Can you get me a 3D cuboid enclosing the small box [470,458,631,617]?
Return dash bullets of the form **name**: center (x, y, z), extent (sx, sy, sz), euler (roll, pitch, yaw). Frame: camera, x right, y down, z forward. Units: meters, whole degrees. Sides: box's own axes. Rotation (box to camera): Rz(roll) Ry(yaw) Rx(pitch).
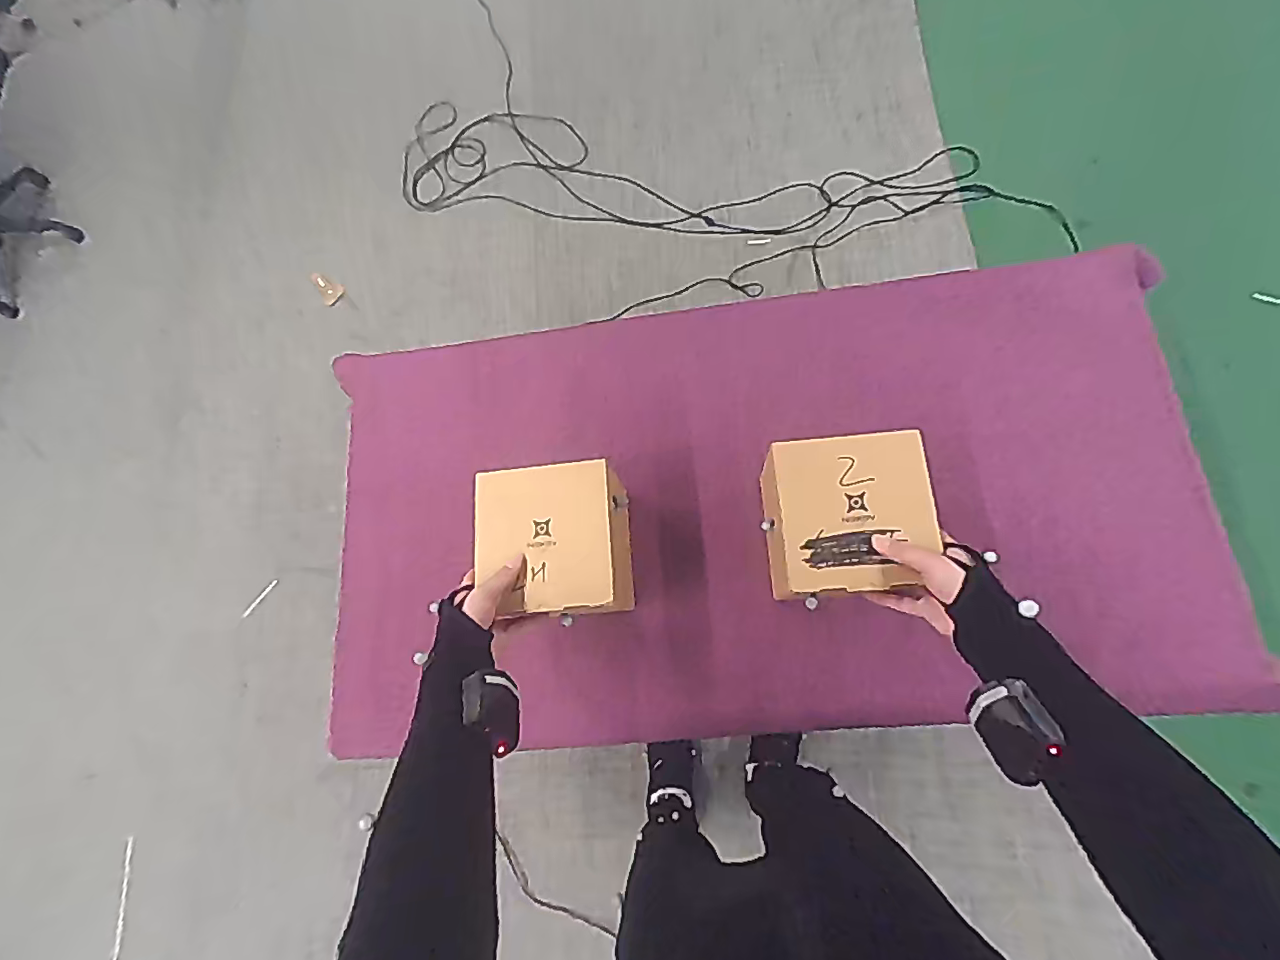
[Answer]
- **small box**: center (-0.107, 0.084, 0.704), extent (0.168, 0.176, 0.179), euler (-5, 75, 6)
